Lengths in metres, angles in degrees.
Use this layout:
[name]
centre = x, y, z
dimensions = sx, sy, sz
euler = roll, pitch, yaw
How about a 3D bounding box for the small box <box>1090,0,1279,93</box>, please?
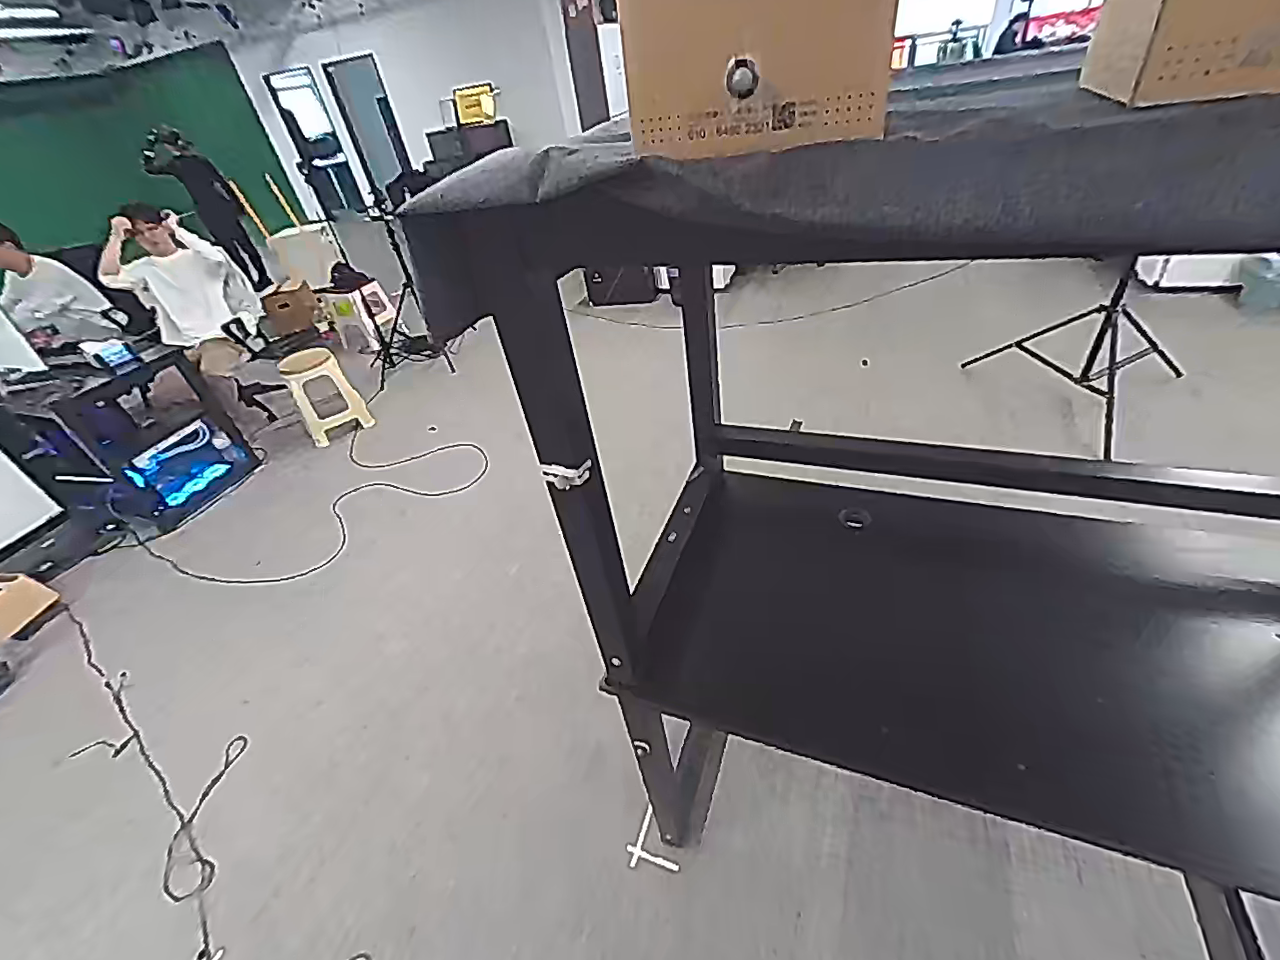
[small box]
centre = 0.376, -0.317, 0.285
dimensions = 0.168, 0.176, 0.179
euler = 9, 39, 24
